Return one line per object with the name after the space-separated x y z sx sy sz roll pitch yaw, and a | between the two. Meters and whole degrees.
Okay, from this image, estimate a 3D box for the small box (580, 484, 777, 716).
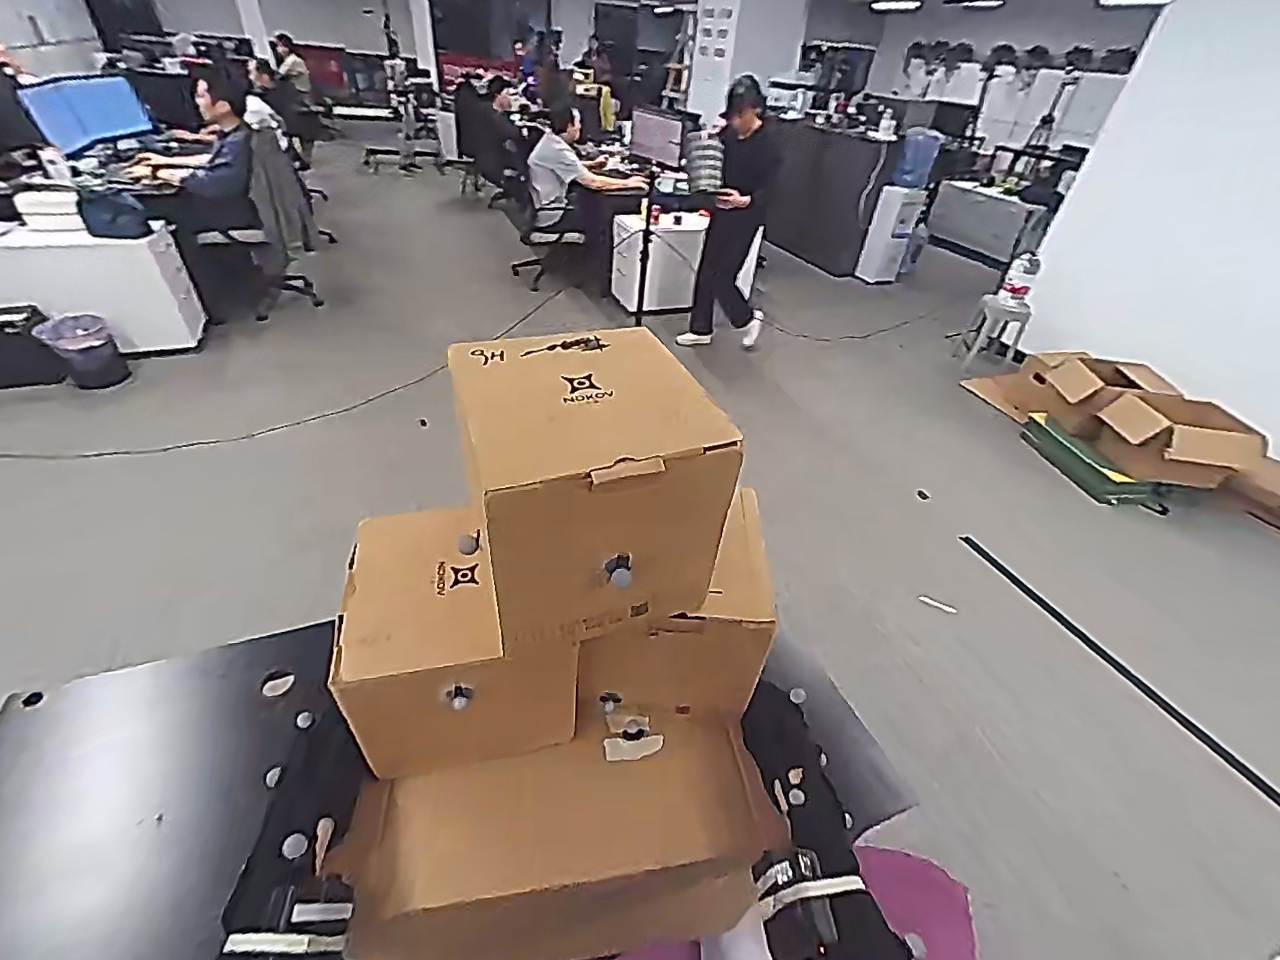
0.032 0.117 0.554 0.168 0.176 0.179 6 38 0 | small box

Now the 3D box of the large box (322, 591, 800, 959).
-0.090 0.342 0.648 0.408 0.320 0.320 -2 40 -11 | large box

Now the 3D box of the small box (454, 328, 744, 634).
-0.043 0.000 0.429 0.168 0.176 0.179 -10 43 -20 | small box
